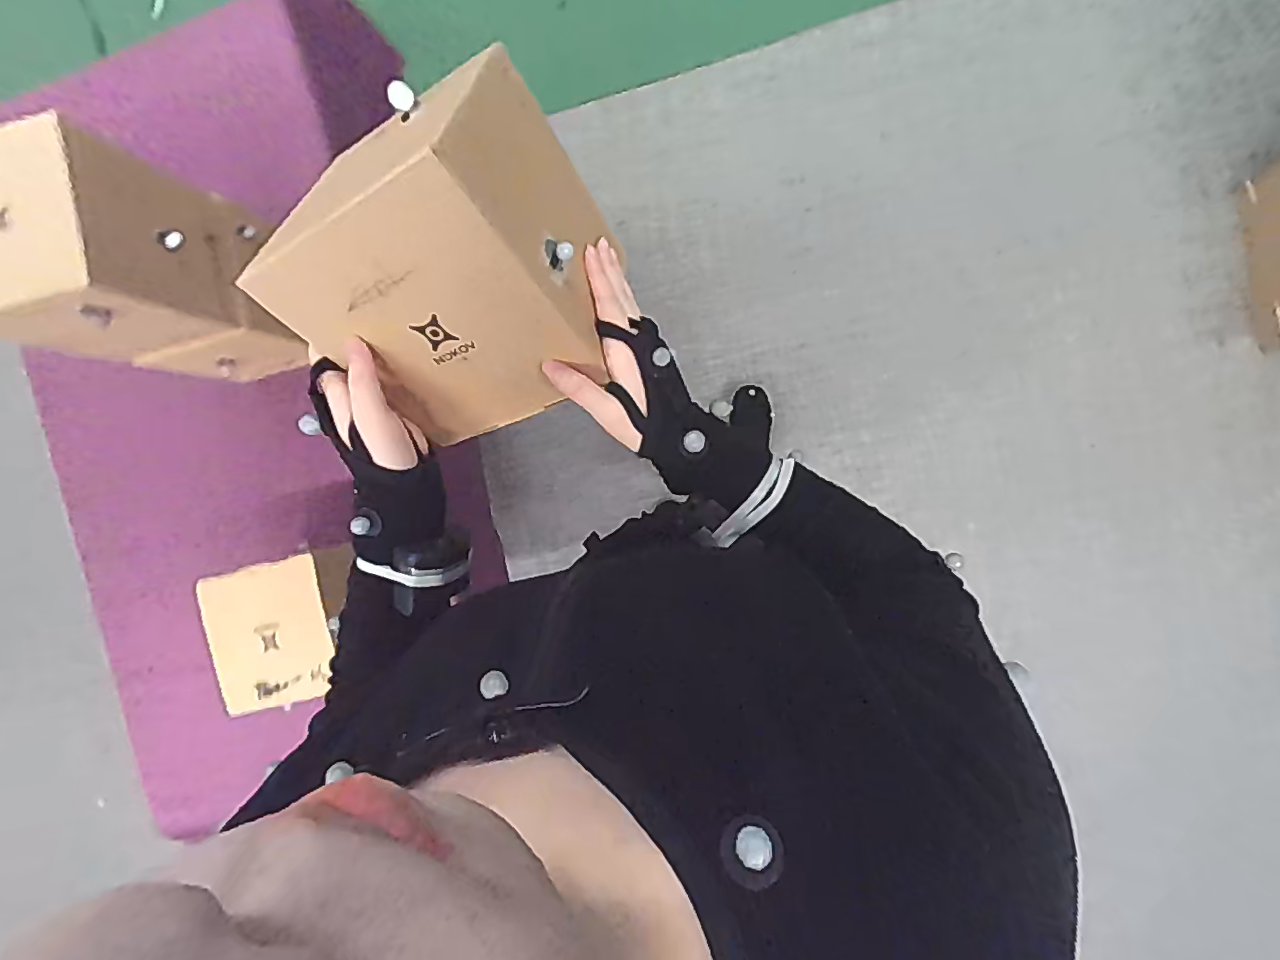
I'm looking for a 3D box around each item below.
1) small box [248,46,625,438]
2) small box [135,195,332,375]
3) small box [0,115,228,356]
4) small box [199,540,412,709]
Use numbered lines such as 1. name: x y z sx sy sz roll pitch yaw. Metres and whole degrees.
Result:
1. small box: -0.122 -0.163 0.400 0.168 0.179 0.176 -14 50 23
2. small box: -0.567 -0.252 0.753 0.168 0.176 0.179 -13 89 8
3. small box: -0.593 -0.246 0.590 0.179 0.176 0.168 -11 90 8
4. small box: -0.448 0.185 0.748 0.168 0.176 0.179 -14 89 8
